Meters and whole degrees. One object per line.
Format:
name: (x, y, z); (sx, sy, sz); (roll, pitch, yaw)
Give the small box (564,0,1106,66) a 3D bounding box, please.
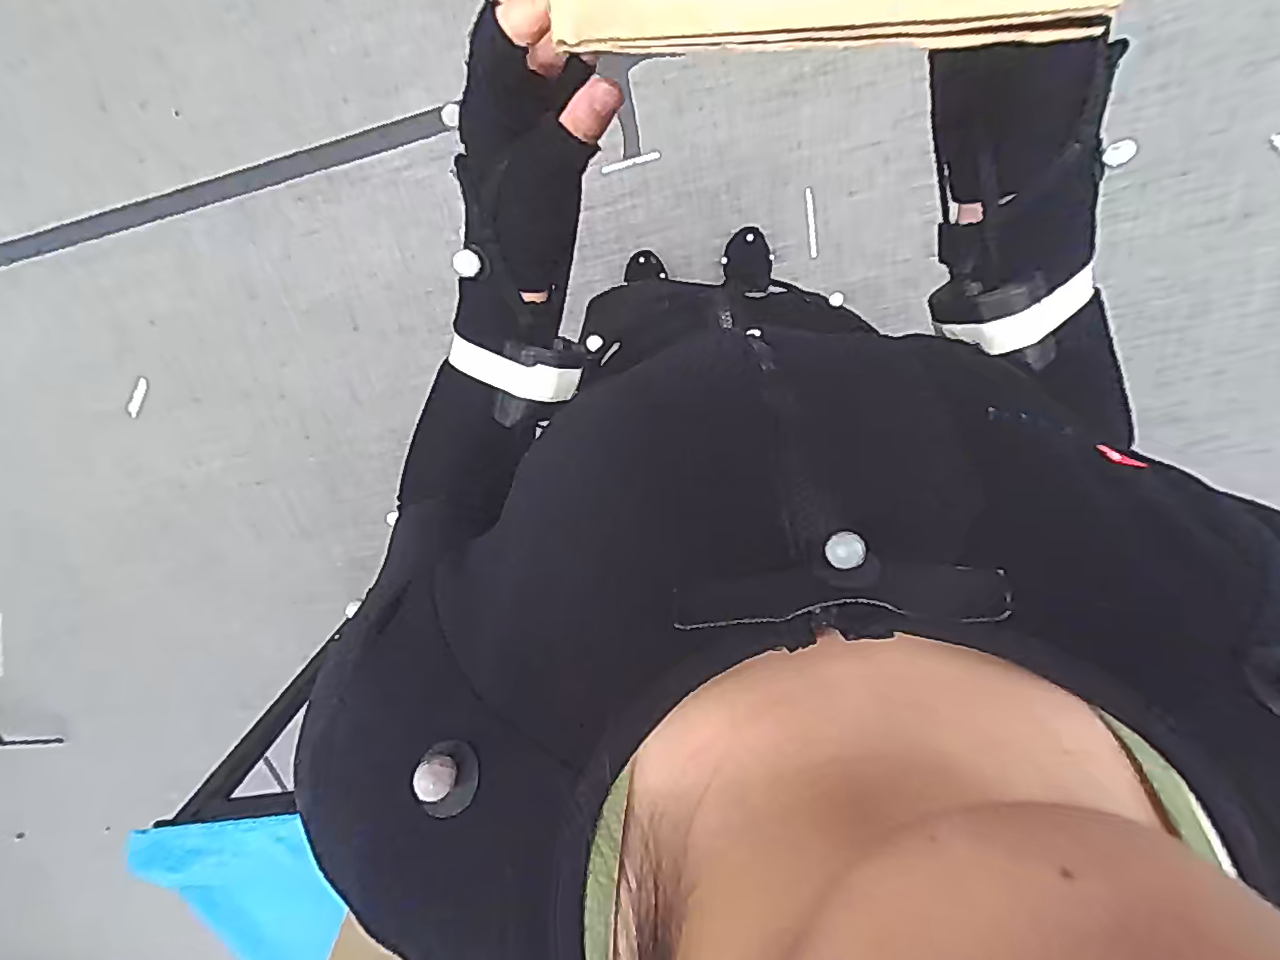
small box: (0.054, -0.255, 0.177); (0.179, 0.168, 0.176); (-3, 131, 1)
